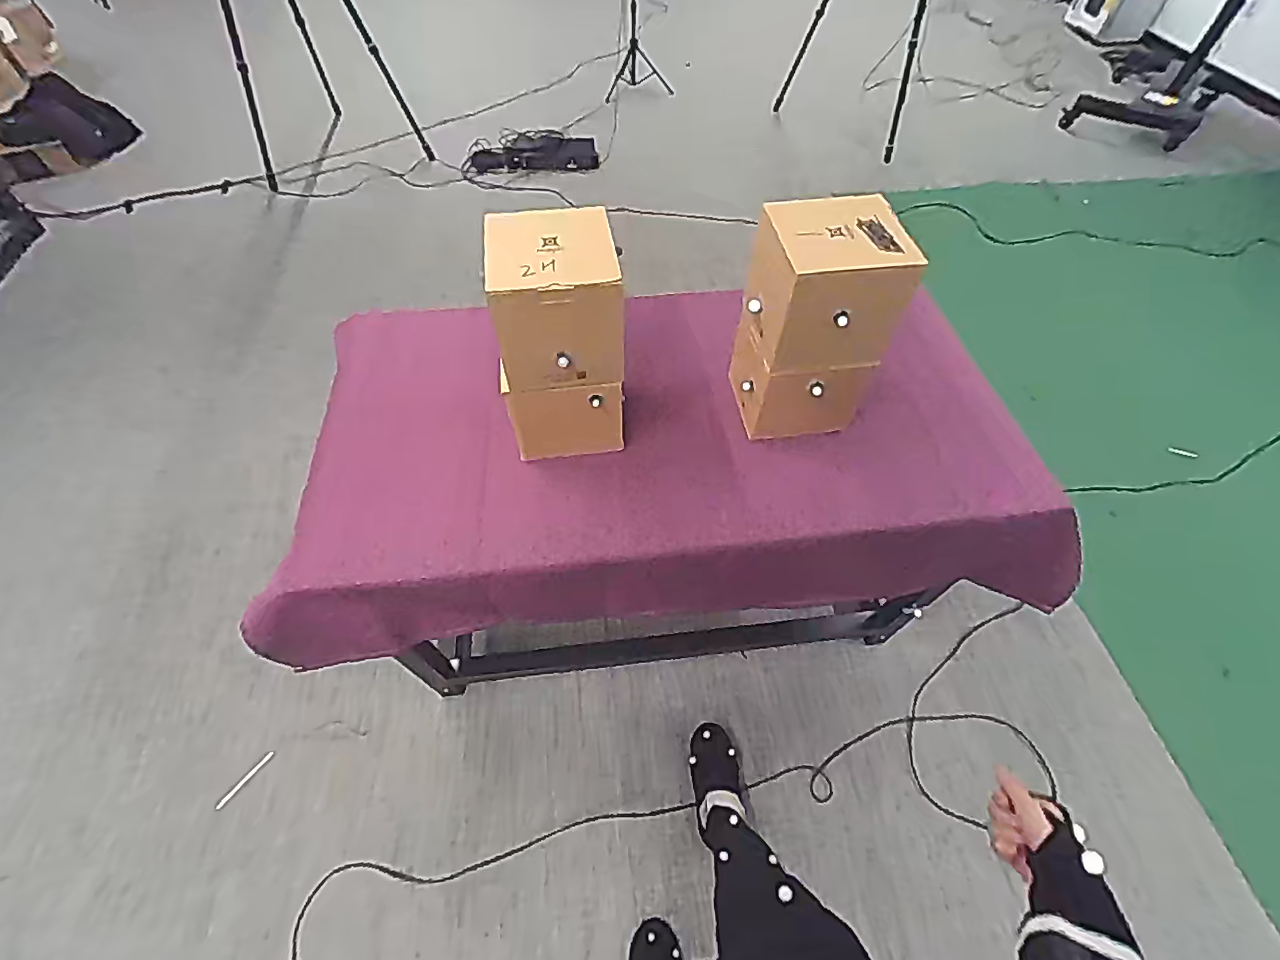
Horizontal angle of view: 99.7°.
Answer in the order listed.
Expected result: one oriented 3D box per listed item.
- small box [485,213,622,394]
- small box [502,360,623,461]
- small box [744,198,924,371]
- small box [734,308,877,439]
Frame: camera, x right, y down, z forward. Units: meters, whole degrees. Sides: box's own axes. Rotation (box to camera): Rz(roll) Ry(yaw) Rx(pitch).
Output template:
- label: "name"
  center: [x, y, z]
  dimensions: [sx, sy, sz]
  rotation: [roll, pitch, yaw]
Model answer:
- label: "small box"
  center: [-0.117, -0.246, 0.760]
  dimensions: [0.168, 0.176, 0.179]
  rotation: [-8, 55, -6]
- label: "small box"
  center: [-0.125, -0.147, 0.892]
  dimensions: [0.179, 0.176, 0.168]
  rotation: [-7, 55, -6]
- label: "small box"
  center: [0.264, -0.279, 0.784]
  dimensions: [0.179, 0.176, 0.168]
  rotation: [-7, 56, -4]
- label: "small box"
  center: [0.264, -0.184, 0.919]
  dimensions: [0.179, 0.176, 0.168]
  rotation: [-5, 56, -5]
